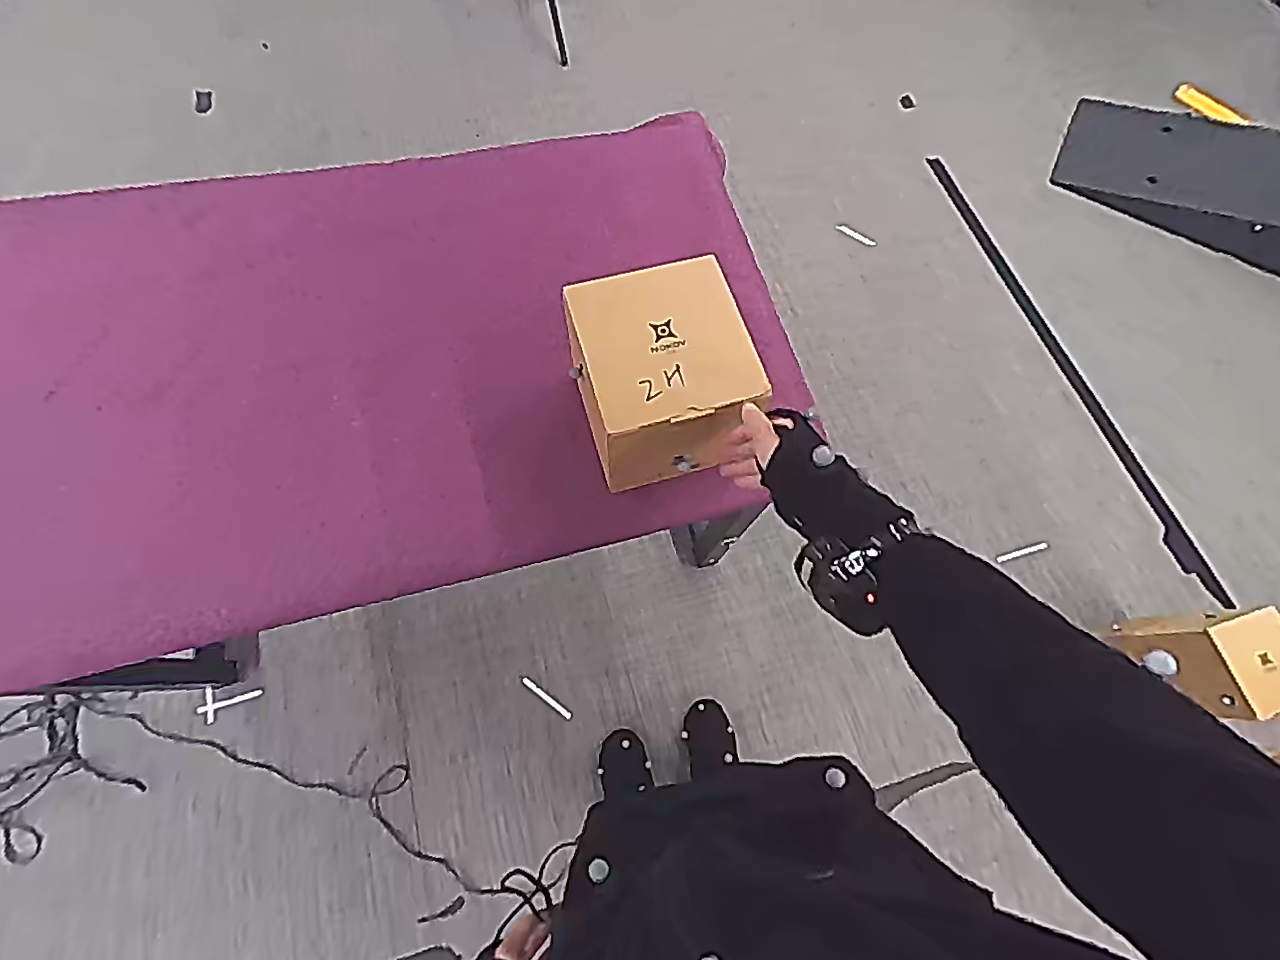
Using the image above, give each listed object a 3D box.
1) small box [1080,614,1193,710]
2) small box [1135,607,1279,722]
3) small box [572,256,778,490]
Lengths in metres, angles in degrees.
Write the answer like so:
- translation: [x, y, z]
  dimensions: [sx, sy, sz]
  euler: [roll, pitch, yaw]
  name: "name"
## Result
- translation: [1.182, 0.423, 1.258]
  dimensions: [0.179, 0.176, 0.168]
  euler: [-15, 73, -10]
  name: "small box"
- translation: [1.184, 0.374, 1.102]
  dimensions: [0.168, 0.176, 0.179]
  euler: [-15, 73, -8]
  name: "small box"
- translation: [0.027, -0.110, 0.602]
  dimensions: [0.168, 0.176, 0.179]
  euler: [-15, 72, -7]
  name: "small box"
